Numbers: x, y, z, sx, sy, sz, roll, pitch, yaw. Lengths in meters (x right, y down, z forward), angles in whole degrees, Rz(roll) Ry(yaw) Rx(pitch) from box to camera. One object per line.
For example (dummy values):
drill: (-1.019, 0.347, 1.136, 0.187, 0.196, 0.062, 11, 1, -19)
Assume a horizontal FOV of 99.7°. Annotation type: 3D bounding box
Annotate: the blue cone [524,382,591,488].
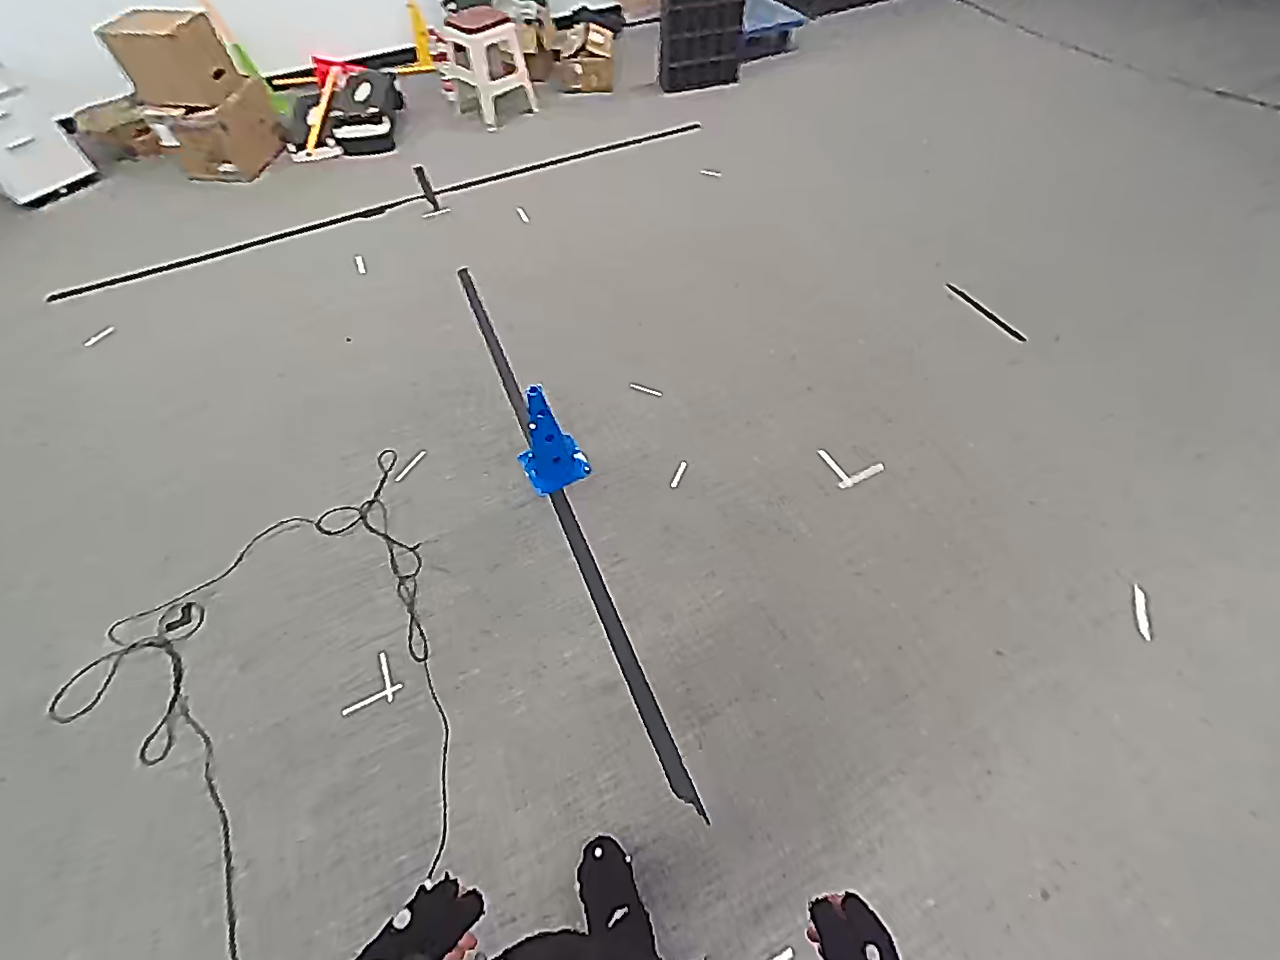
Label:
blue cone: (-0.284, -0.159, 1.678, 0.192, 0.380, 0.193, -23, 58, -15)
